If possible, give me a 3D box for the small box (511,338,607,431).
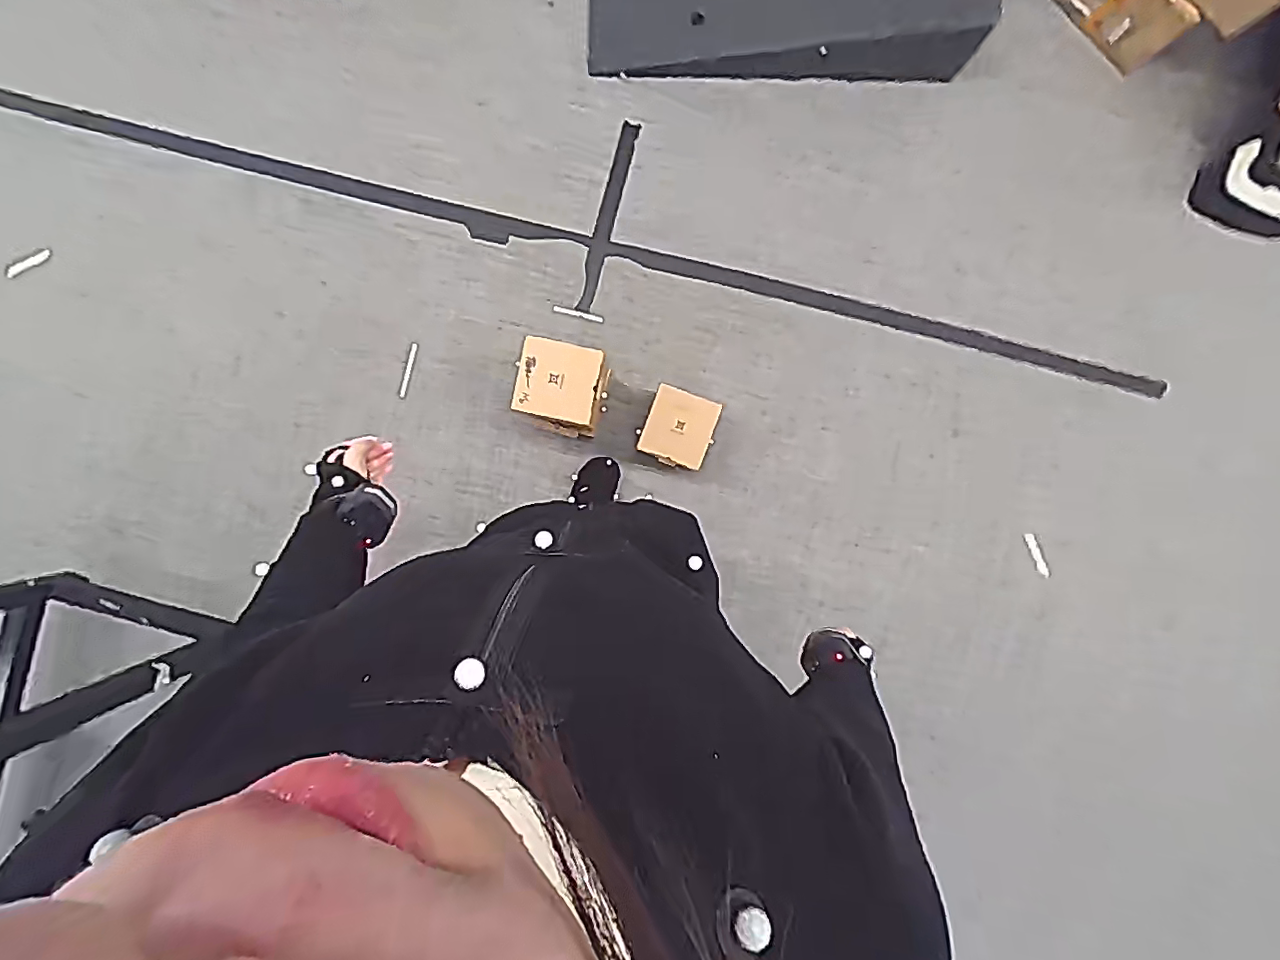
[{"bbox_3d":[-0.177,-0.209,1.234,0.179,0.176,0.168,13,92,-2],"label":"small box"}]

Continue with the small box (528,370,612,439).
[{"bbox_3d":[-0.173,-0.210,1.398,0.168,0.176,0.179,18,91,-1],"label":"small box"}]

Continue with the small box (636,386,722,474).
[{"bbox_3d":[0.096,-0.125,1.405,0.168,0.176,0.179,21,91,-2],"label":"small box"}]
